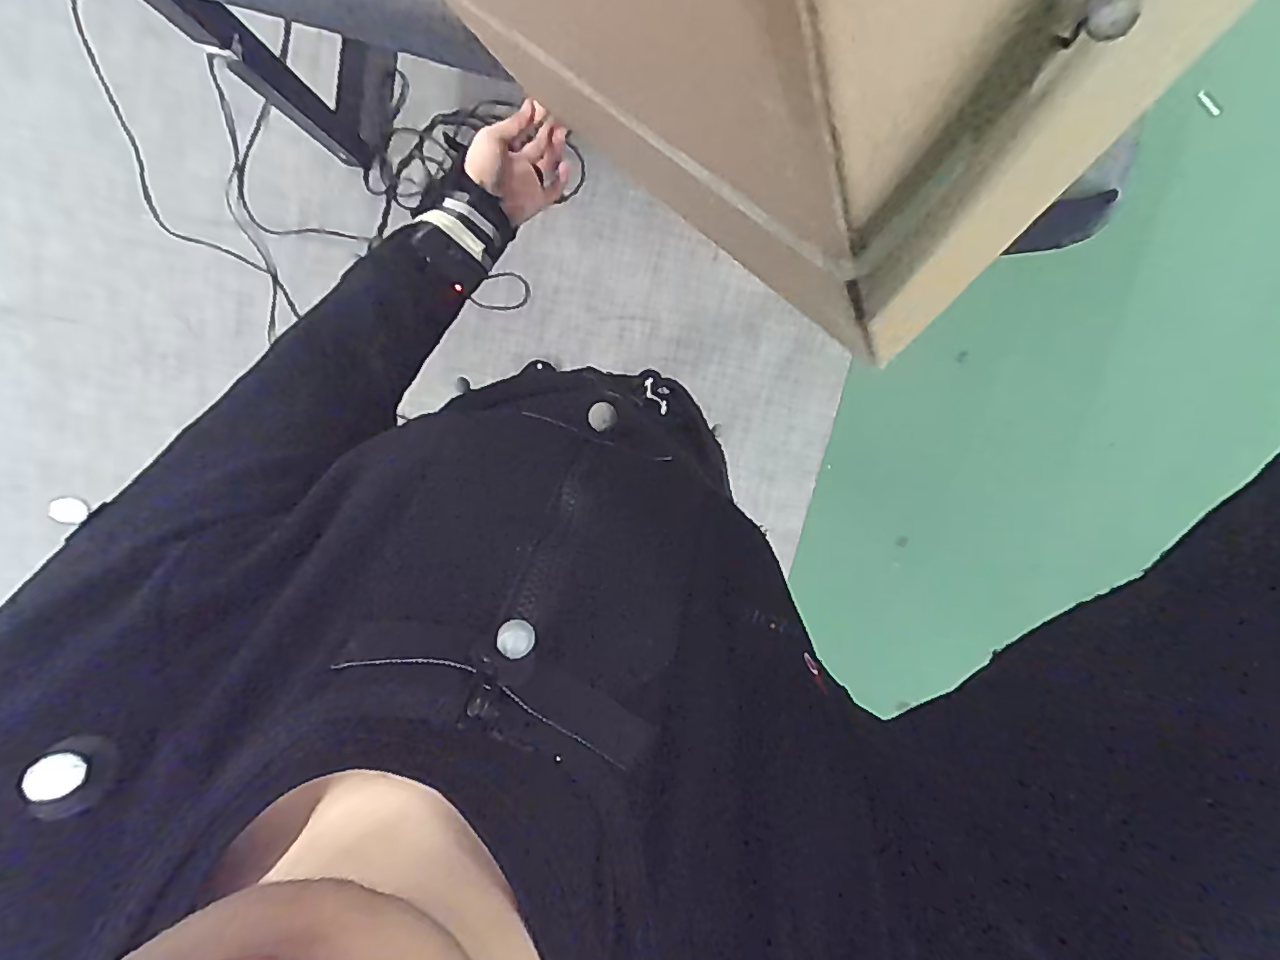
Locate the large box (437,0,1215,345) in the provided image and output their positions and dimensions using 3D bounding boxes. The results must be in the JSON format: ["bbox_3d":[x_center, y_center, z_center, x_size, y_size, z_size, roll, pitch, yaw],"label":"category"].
[{"bbox_3d":[0.064,-0.332,0.255,0.408,0.320,0.320,46,105,22],"label":"large box"}]
